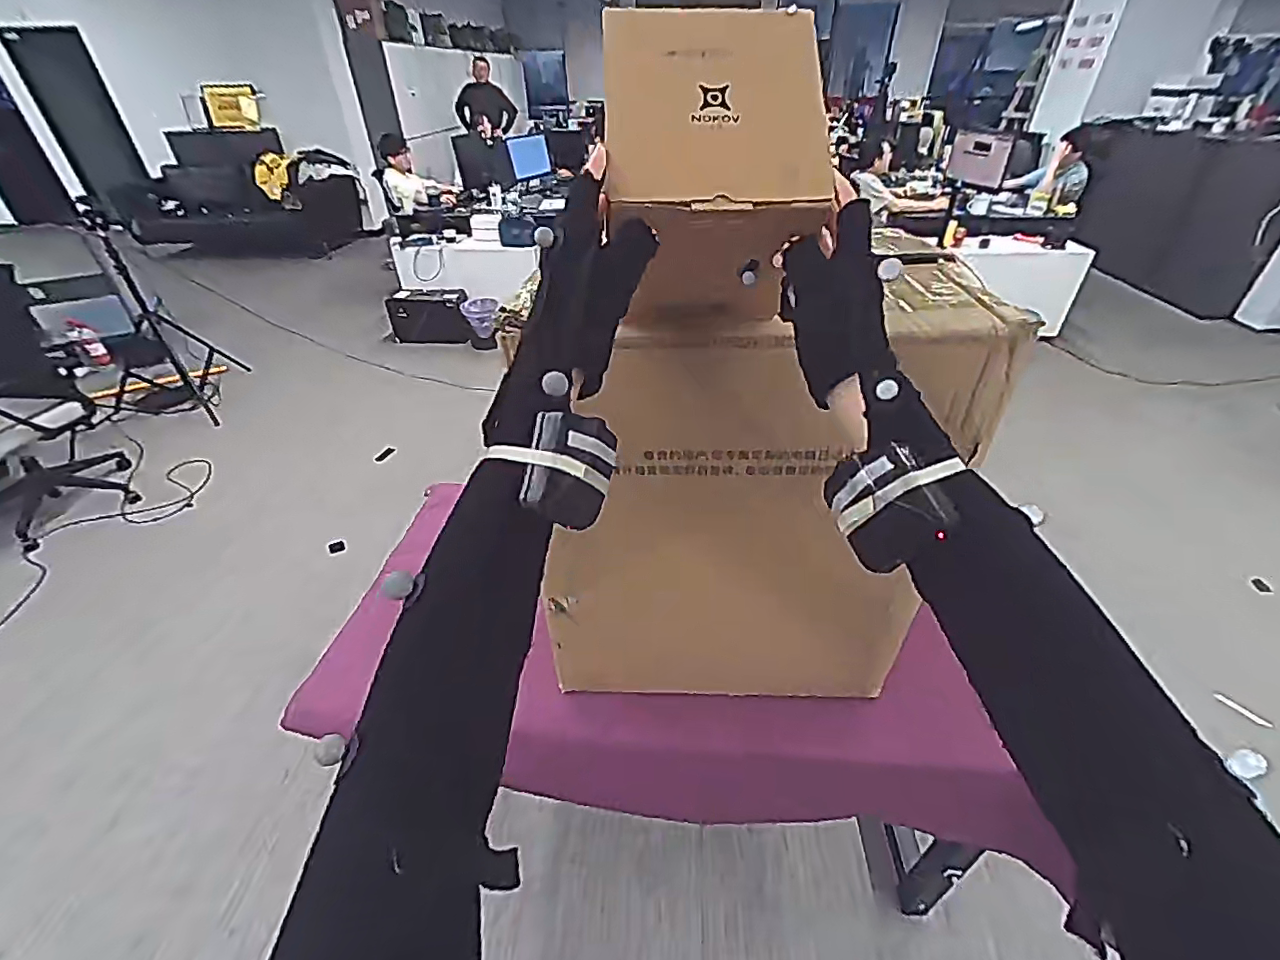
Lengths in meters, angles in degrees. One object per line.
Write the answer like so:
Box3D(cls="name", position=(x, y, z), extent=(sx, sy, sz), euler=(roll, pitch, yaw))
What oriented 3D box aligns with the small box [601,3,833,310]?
Box3D(cls="small box", position=(0.052, -0.266, 0.477), extent=(0.168, 0.176, 0.179), euler=(-2, 76, -3))
